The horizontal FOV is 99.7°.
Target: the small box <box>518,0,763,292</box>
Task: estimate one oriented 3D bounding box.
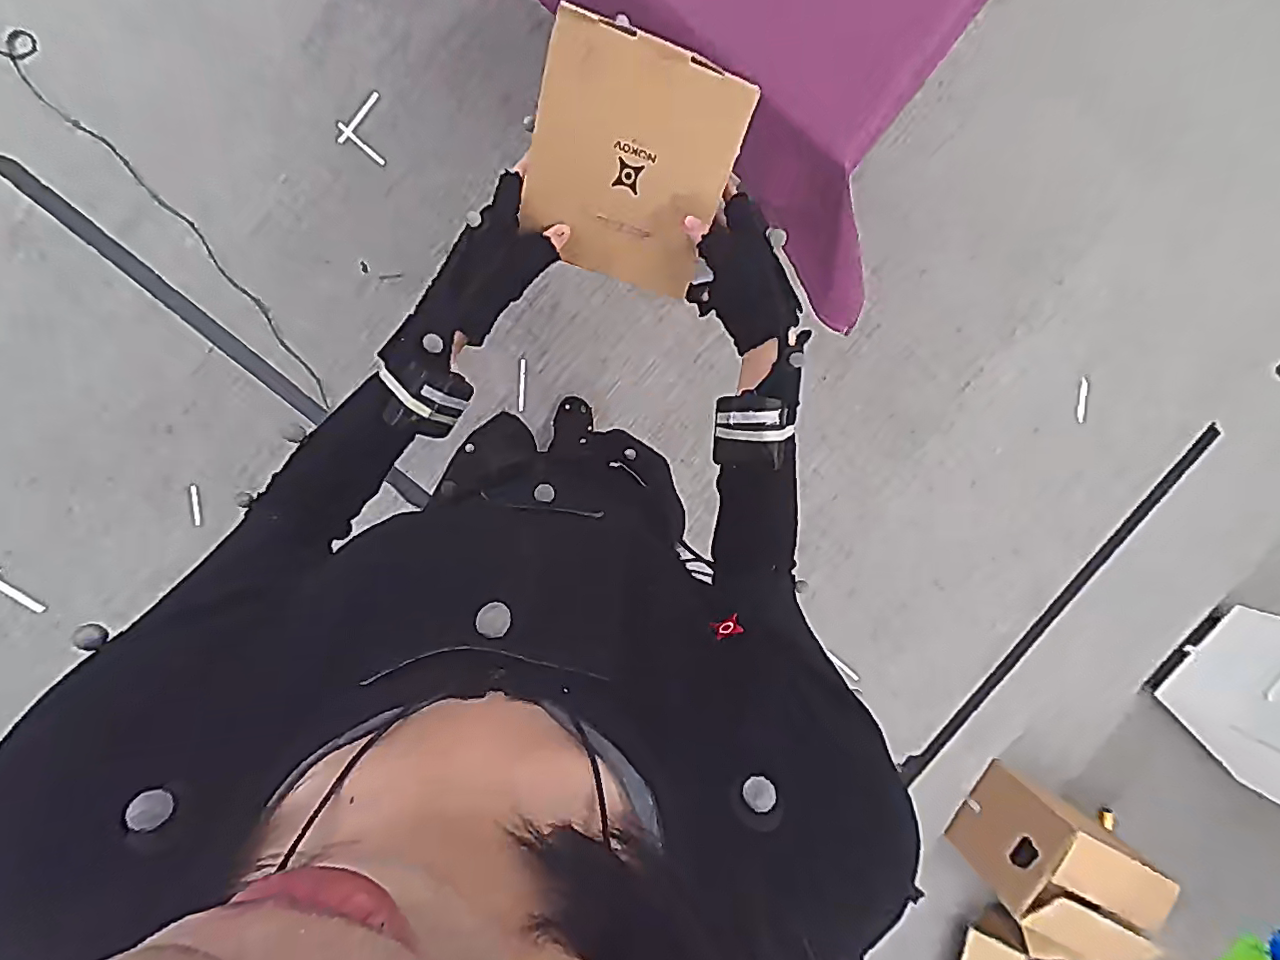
[{"bbox_3d":[-0.009,-0.309,0.519,0.168,0.176,0.179,15,121,-11],"label":"small box"}]
